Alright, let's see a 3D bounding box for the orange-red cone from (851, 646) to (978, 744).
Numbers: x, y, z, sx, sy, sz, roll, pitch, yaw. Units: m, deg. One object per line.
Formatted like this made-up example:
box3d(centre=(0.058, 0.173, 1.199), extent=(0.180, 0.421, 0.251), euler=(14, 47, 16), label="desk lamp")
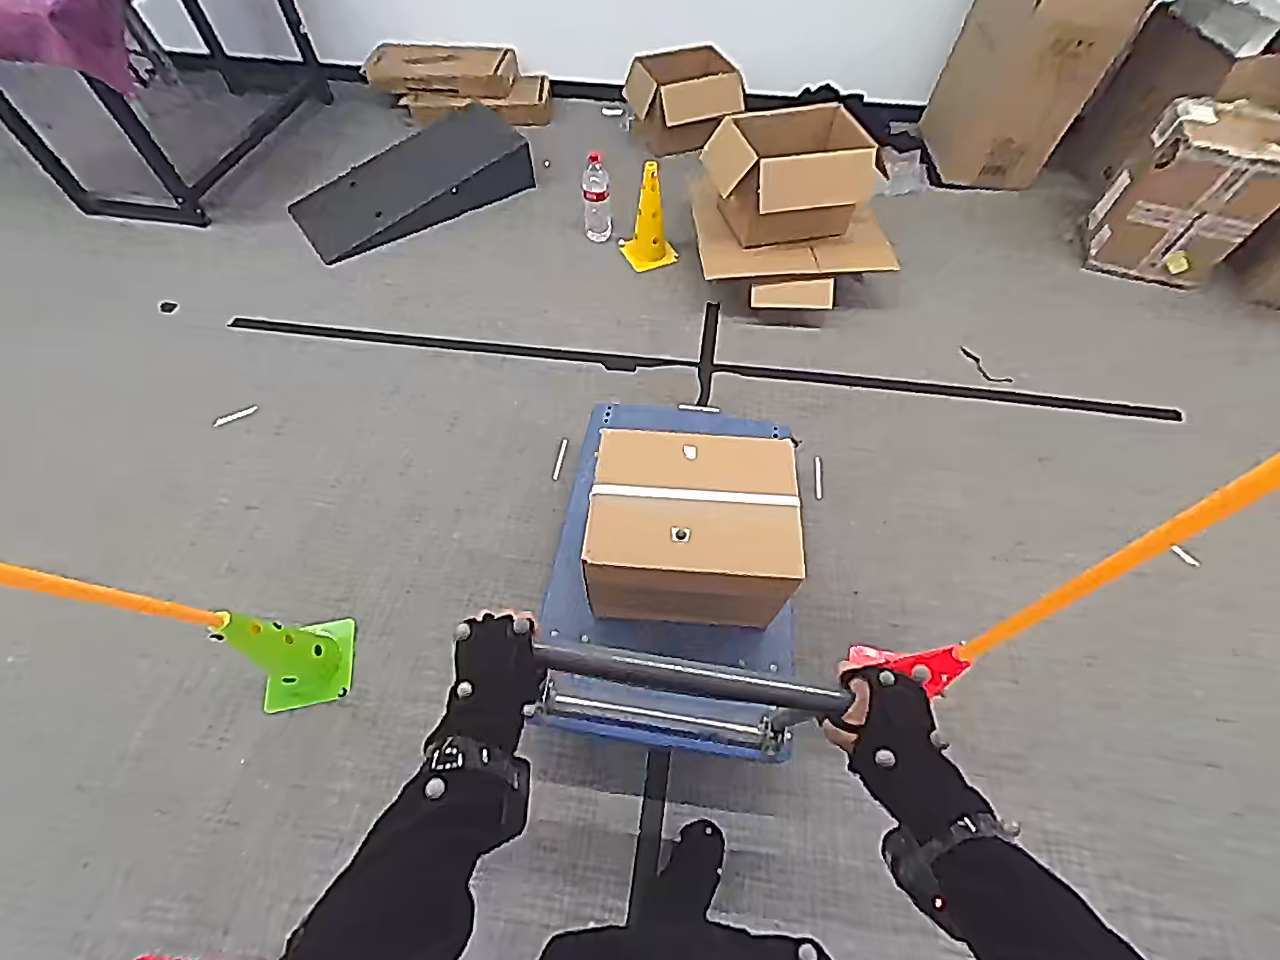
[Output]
box3d(centre=(0.626, 0.432, 1.178), extent=(0.199, 0.360, 0.198), euler=(13, 59, 6), label="orange-red cone")
